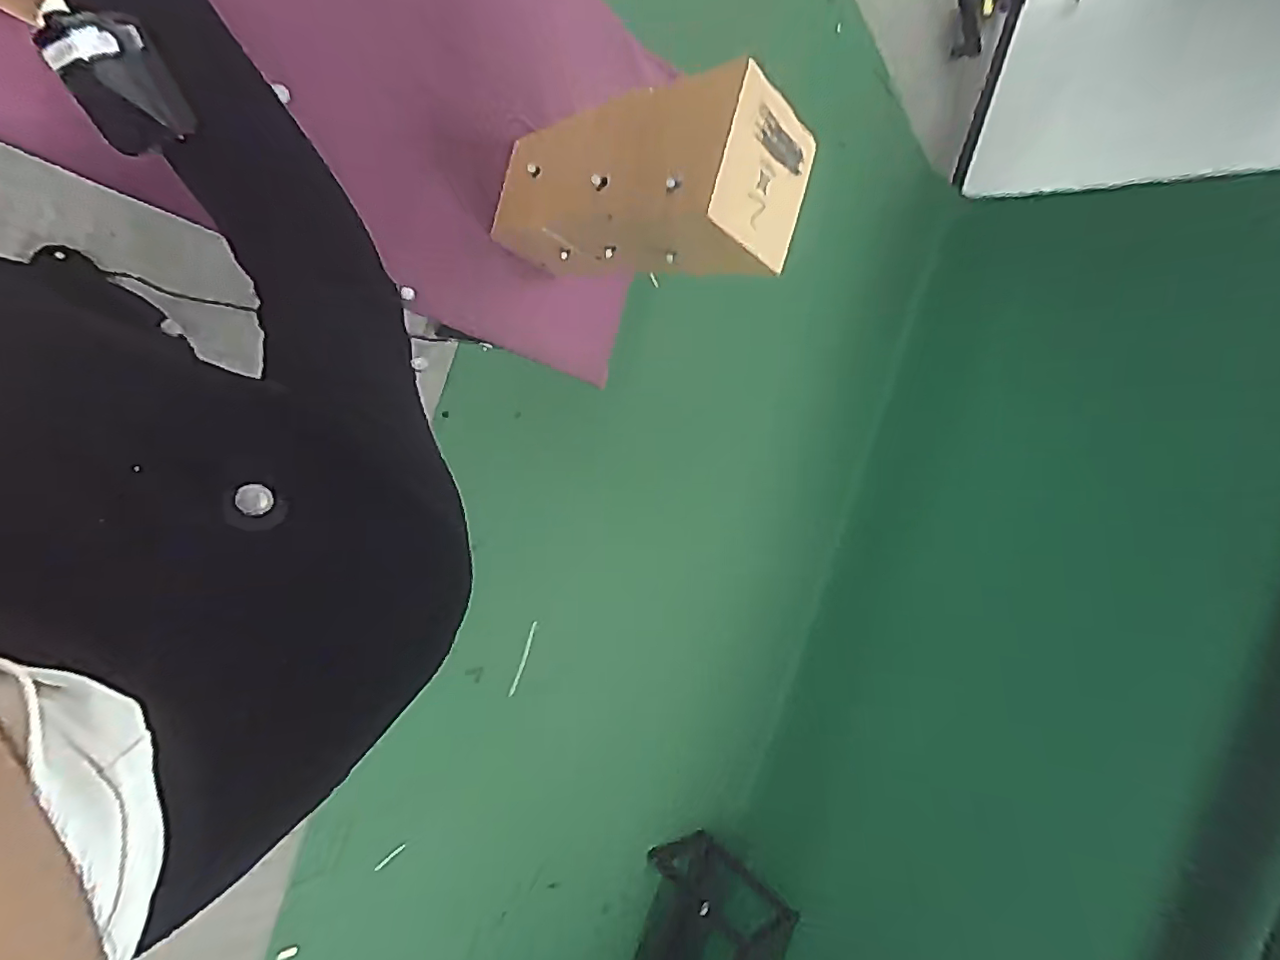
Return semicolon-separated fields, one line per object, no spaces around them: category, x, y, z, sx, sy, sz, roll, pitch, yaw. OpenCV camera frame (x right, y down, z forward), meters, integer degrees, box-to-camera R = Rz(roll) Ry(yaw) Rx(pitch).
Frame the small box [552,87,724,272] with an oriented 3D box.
small box;-0.008;-0.430;0.812;0.168;0.176;0.179;16;92;-47

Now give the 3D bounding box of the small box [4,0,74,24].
small box;-0.583;-0.542;0.450;0.168;0.176;0.179;11;96;-46

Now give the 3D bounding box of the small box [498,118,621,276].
small box;-0.120;-0.468;0.927;0.168;0.176;0.179;14;93;-45
